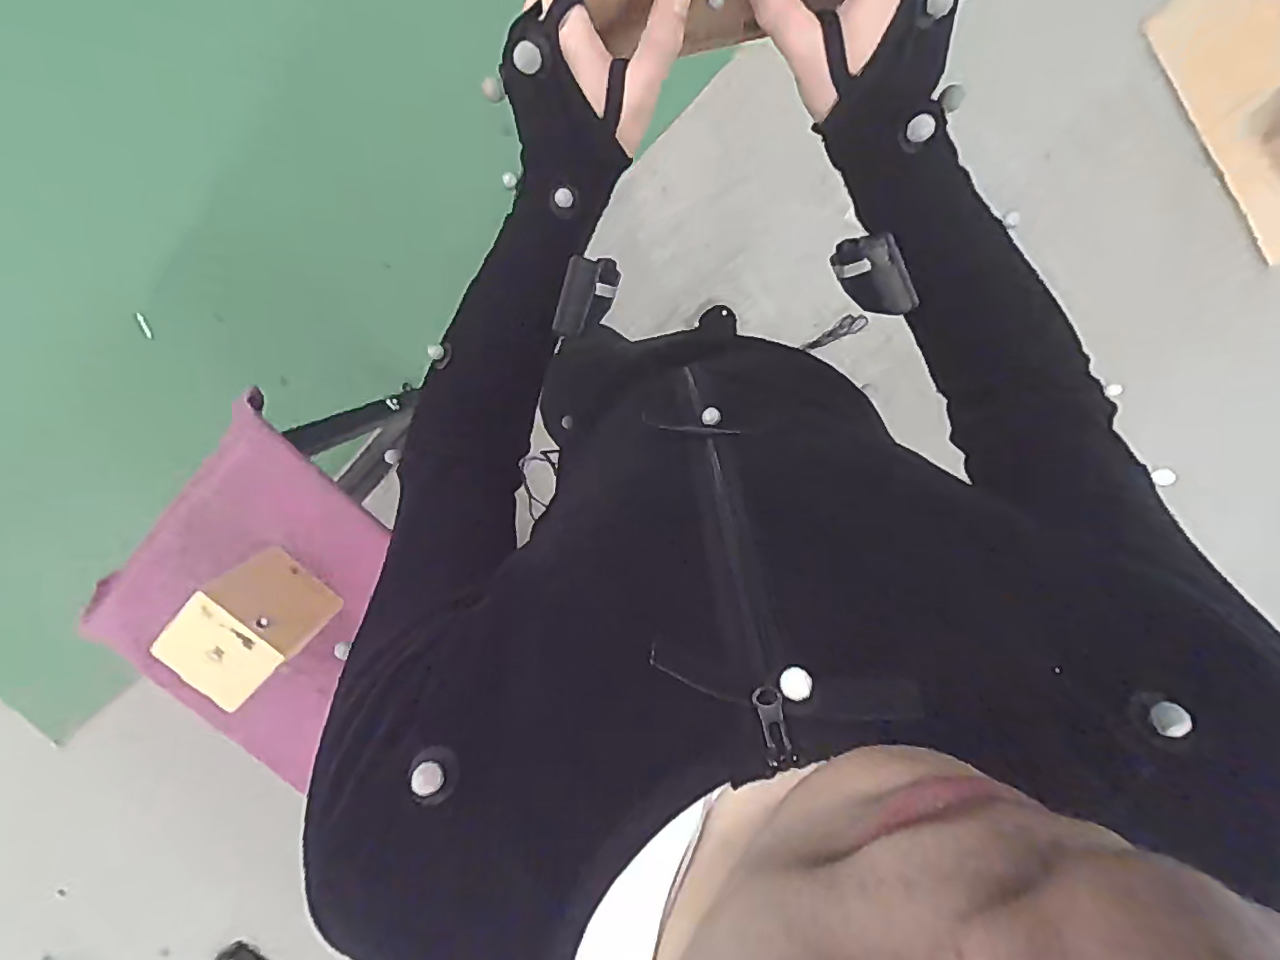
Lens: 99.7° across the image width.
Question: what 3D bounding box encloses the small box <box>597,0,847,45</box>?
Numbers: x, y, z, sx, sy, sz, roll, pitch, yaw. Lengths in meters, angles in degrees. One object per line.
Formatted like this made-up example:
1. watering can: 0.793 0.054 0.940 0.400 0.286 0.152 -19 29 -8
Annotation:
1. small box: 0.041 -0.368 0.279 0.168 0.176 0.179 -5 102 9

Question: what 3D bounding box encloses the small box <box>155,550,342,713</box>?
1. small box: -0.669 0.258 0.944 0.179 0.176 0.168 -42 101 17
